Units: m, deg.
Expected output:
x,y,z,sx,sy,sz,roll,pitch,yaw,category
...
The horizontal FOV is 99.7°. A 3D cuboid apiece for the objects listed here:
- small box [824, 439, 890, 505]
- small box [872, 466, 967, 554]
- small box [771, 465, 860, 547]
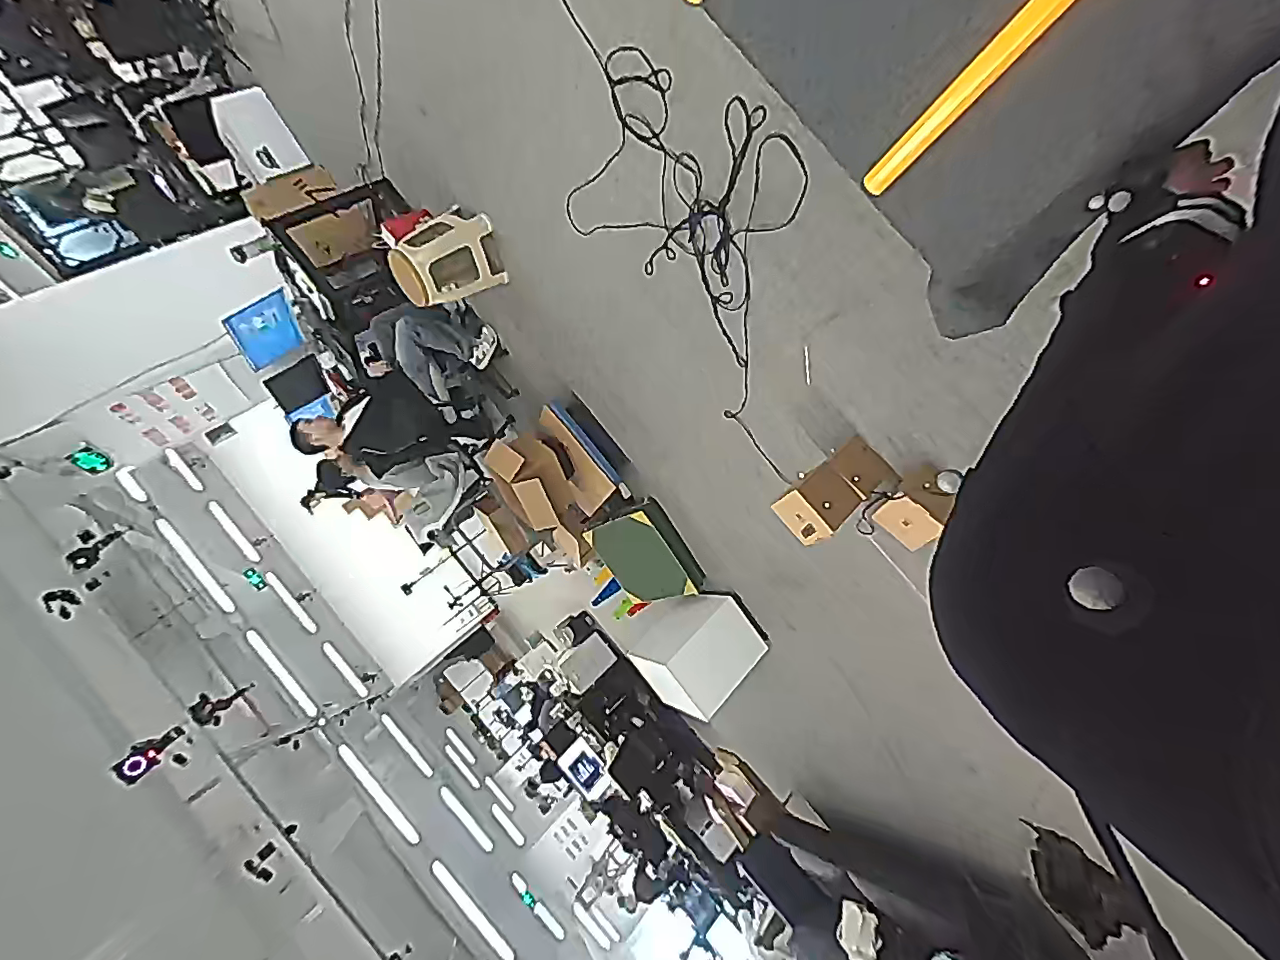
x,y,z,sx,sy,sz,roll,pitch,yaw,category
0.691,-0.004,1.803,0.168,0.176,0.179,47,154,11,small box
0.860,0.089,1.656,0.168,0.176,0.179,45,154,16,small box
0.566,0.083,1.737,0.179,0.176,0.168,49,154,6,small box
